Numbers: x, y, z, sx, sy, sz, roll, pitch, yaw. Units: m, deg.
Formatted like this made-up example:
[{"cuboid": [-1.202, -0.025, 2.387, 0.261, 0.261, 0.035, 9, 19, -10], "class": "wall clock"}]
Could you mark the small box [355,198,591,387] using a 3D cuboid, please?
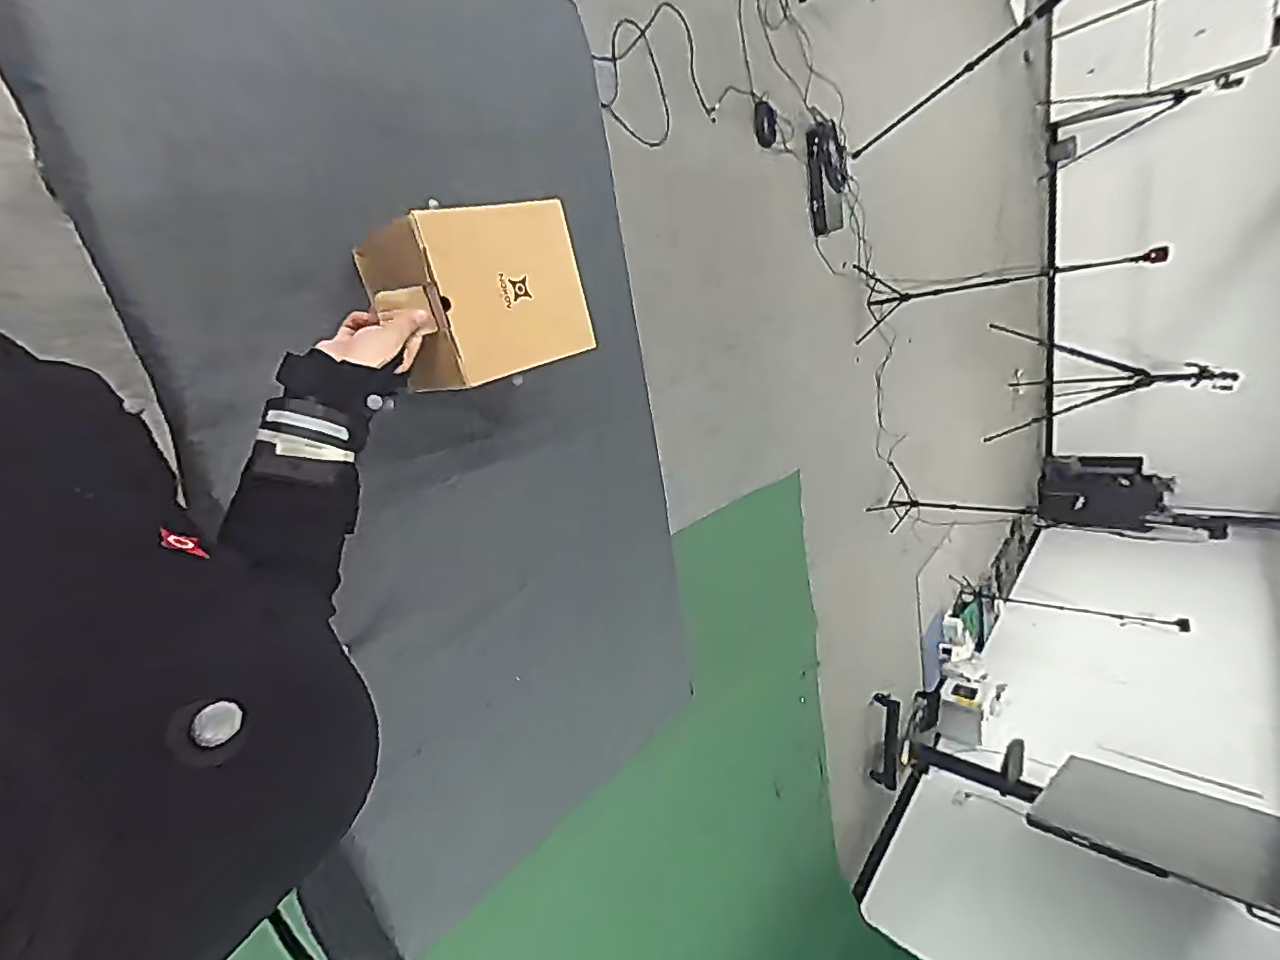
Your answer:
[{"cuboid": [-0.190, -0.212, 0.627, 0.179, 0.176, 0.168, -32, 117, -38], "class": "small box"}]
